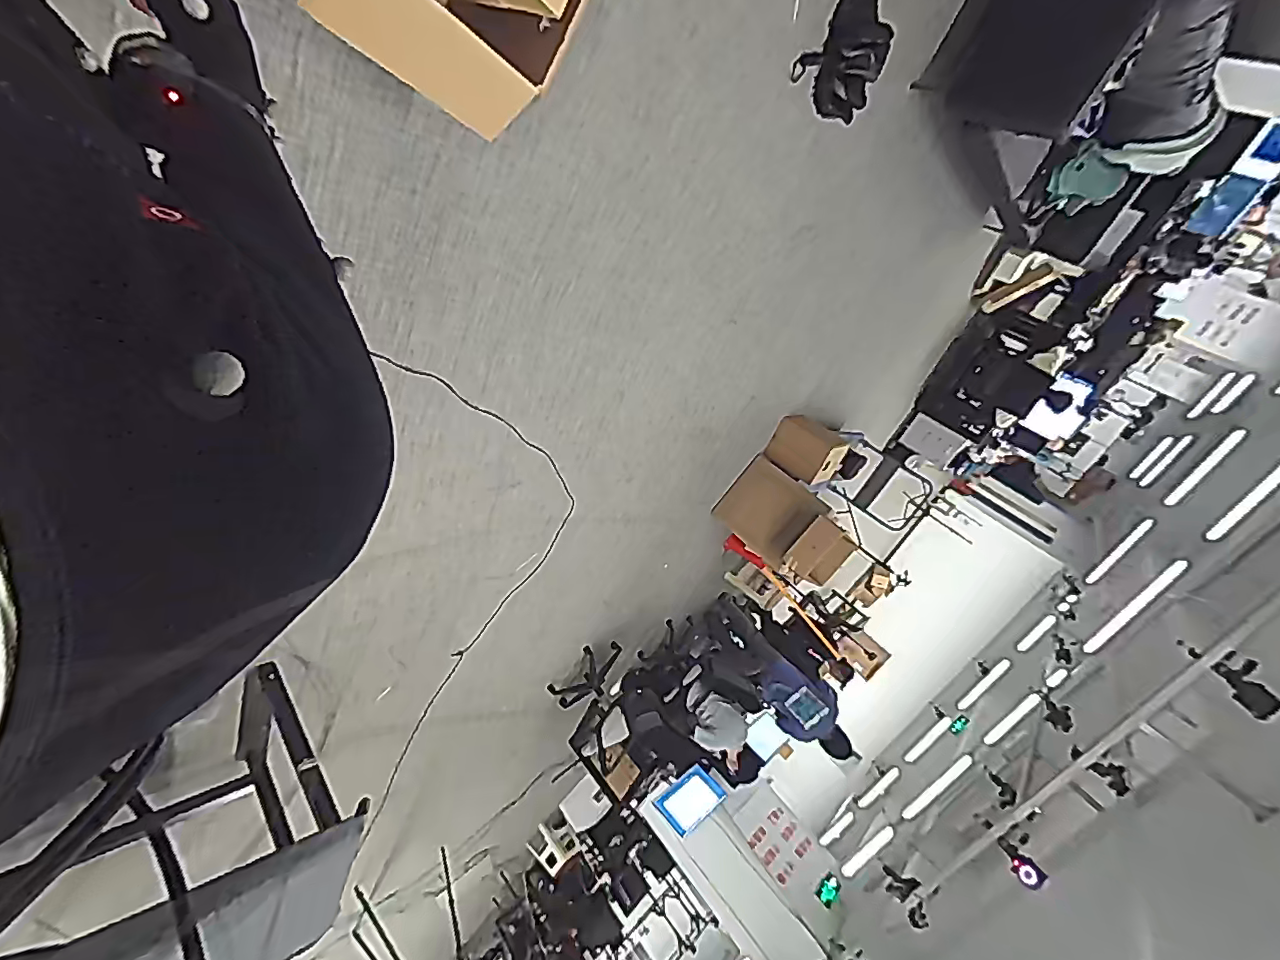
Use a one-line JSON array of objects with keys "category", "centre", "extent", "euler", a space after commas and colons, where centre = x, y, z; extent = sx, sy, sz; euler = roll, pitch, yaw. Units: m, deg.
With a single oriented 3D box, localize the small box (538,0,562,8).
[{"category": "small box", "centre": [-0.194, -0.866, 0.812], "extent": [0.179, 0.176, 0.168], "euler": [5, 123, -53]}]
